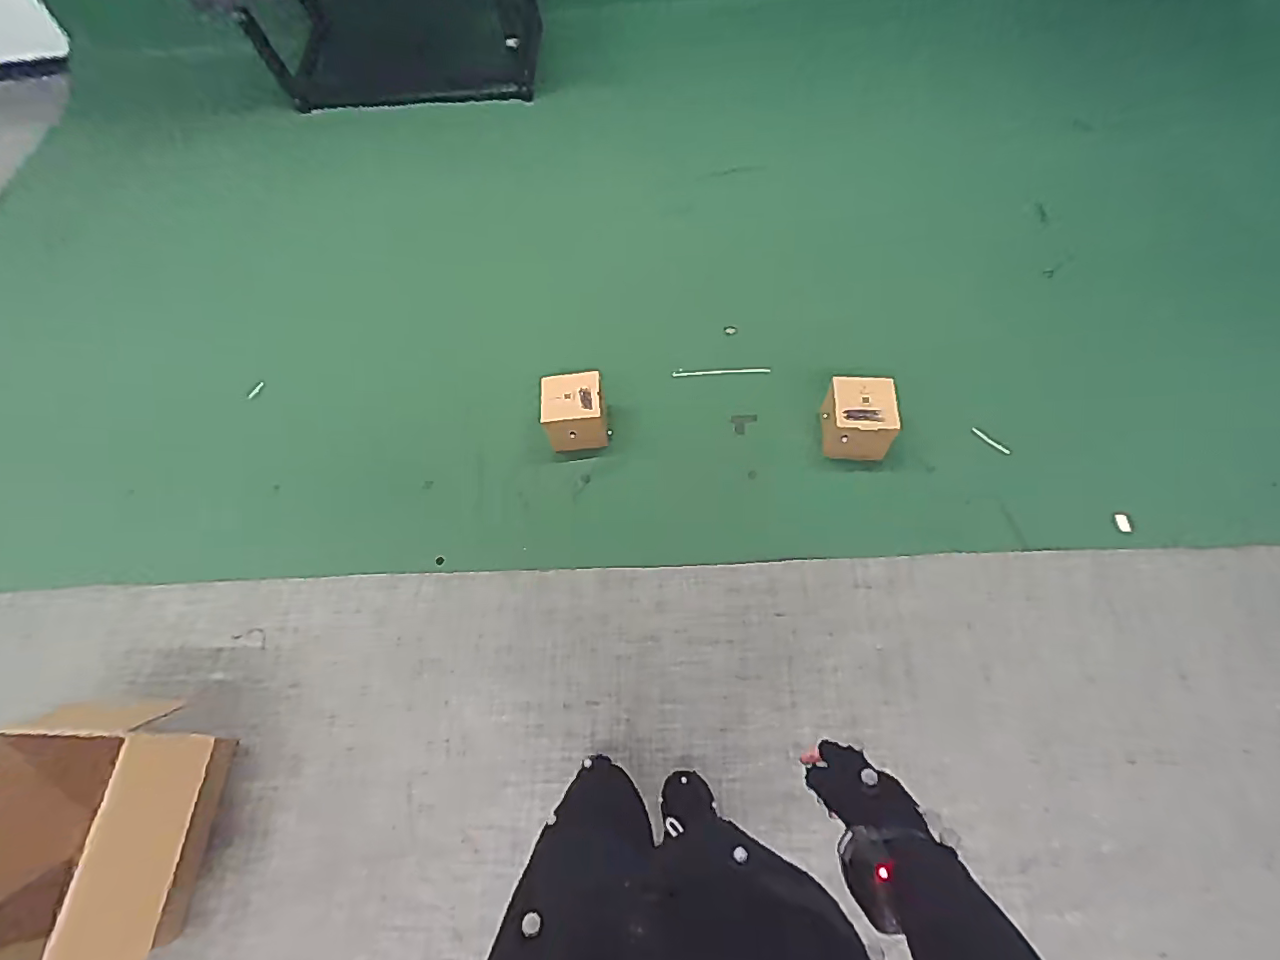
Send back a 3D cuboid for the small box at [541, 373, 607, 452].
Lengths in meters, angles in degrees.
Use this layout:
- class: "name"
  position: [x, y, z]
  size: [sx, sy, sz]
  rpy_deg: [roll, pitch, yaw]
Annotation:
- class: "small box"
  position: [-0.193, -0.200, 1.637]
  size: [0.179, 0.176, 0.168]
  rpy_deg: [-5, 62, 4]
